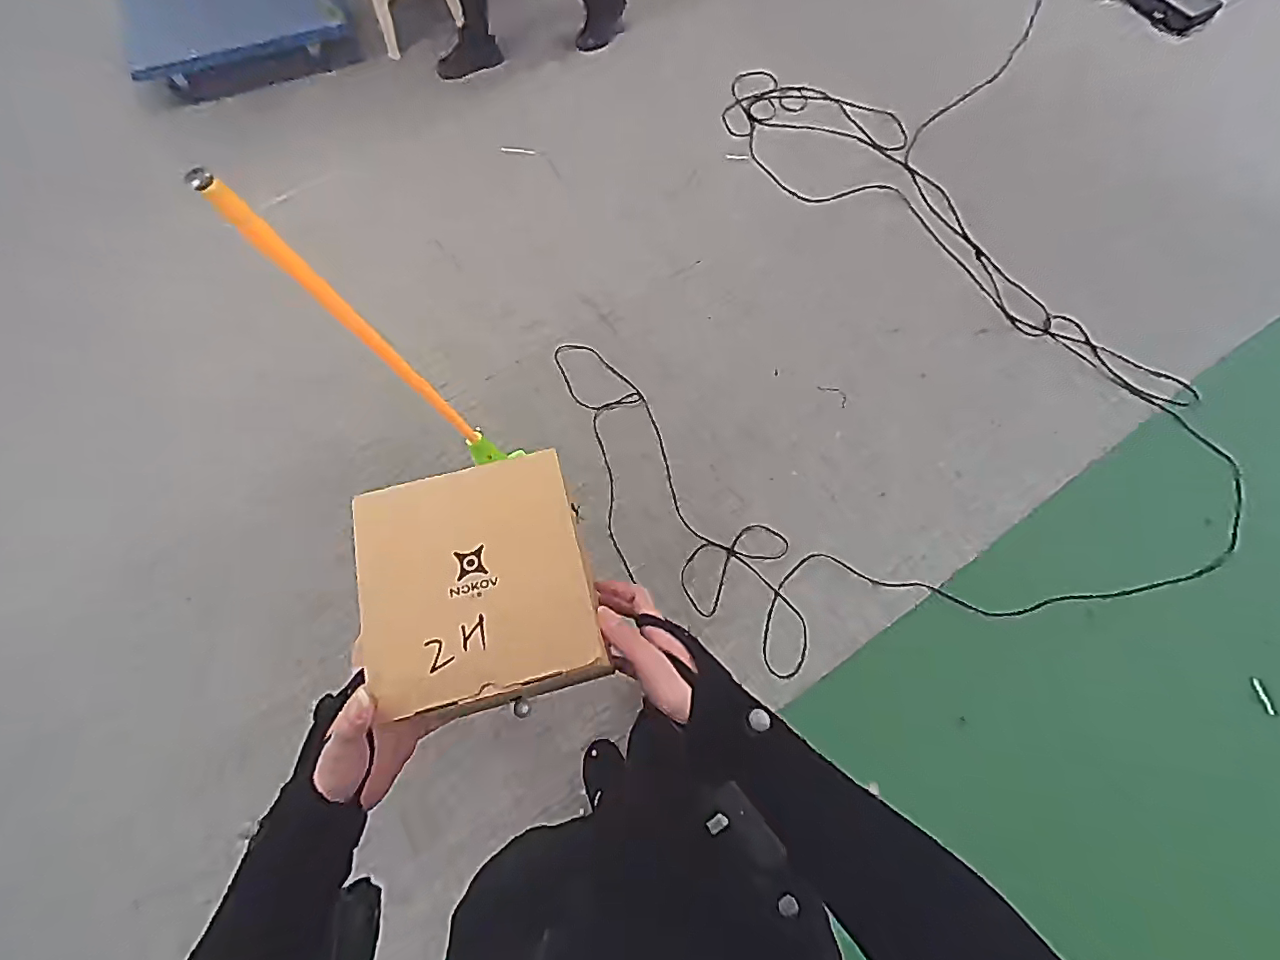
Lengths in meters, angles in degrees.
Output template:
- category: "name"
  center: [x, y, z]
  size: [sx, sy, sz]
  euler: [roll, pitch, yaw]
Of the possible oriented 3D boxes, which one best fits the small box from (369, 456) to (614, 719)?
- category: "small box"
  center: [-0.121, 0.103, 0.486]
  size: [0.168, 0.176, 0.179]
  euler: [-13, 69, -5]
